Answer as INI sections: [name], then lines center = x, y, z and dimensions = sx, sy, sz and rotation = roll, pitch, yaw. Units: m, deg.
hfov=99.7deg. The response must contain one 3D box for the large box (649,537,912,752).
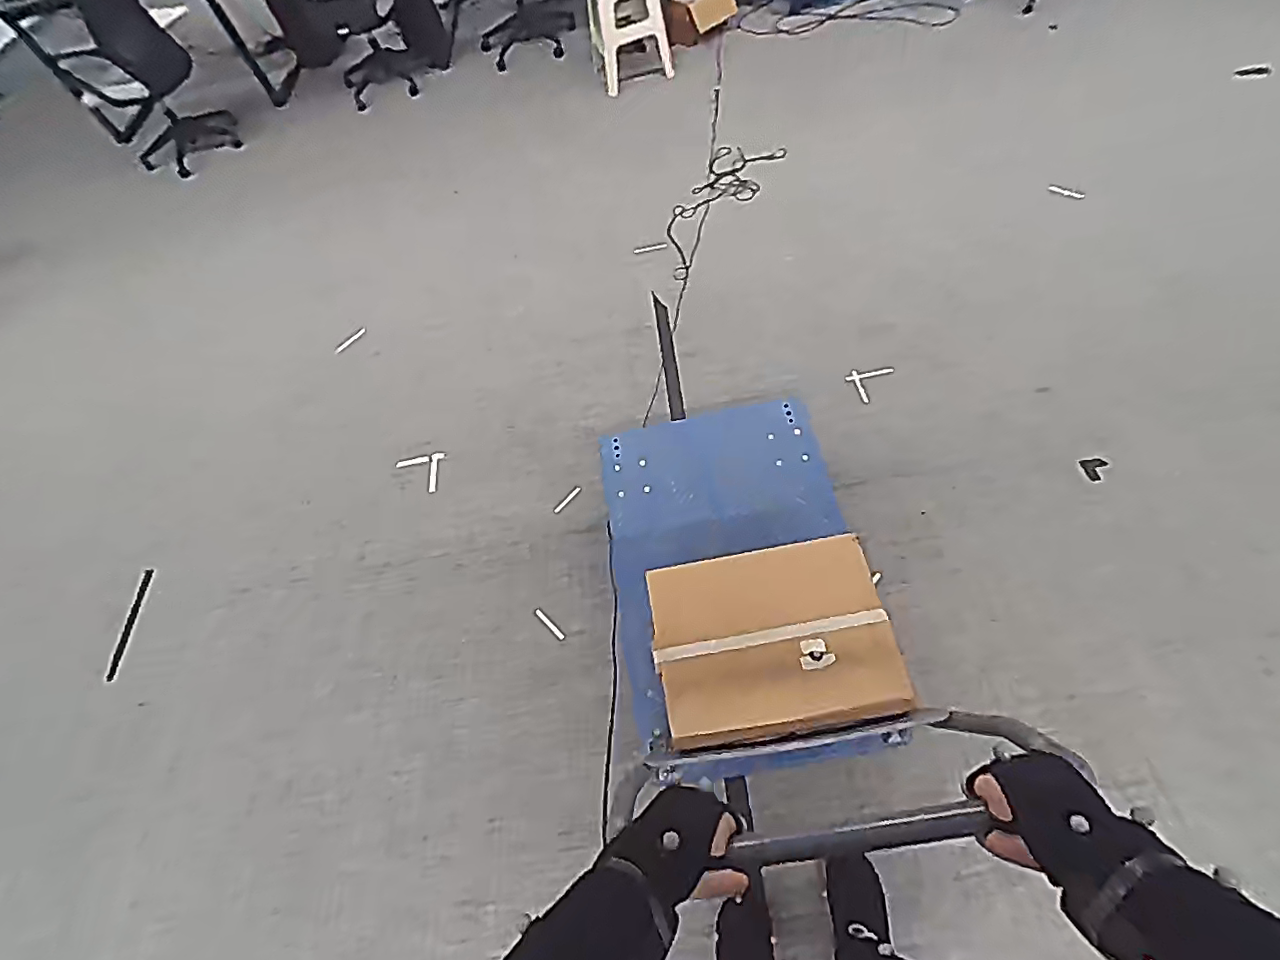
[large box]
center = 0.253, 0.347, 1.100
dimensions = 0.408, 0.320, 0.320
rotation = -11, 64, 3
